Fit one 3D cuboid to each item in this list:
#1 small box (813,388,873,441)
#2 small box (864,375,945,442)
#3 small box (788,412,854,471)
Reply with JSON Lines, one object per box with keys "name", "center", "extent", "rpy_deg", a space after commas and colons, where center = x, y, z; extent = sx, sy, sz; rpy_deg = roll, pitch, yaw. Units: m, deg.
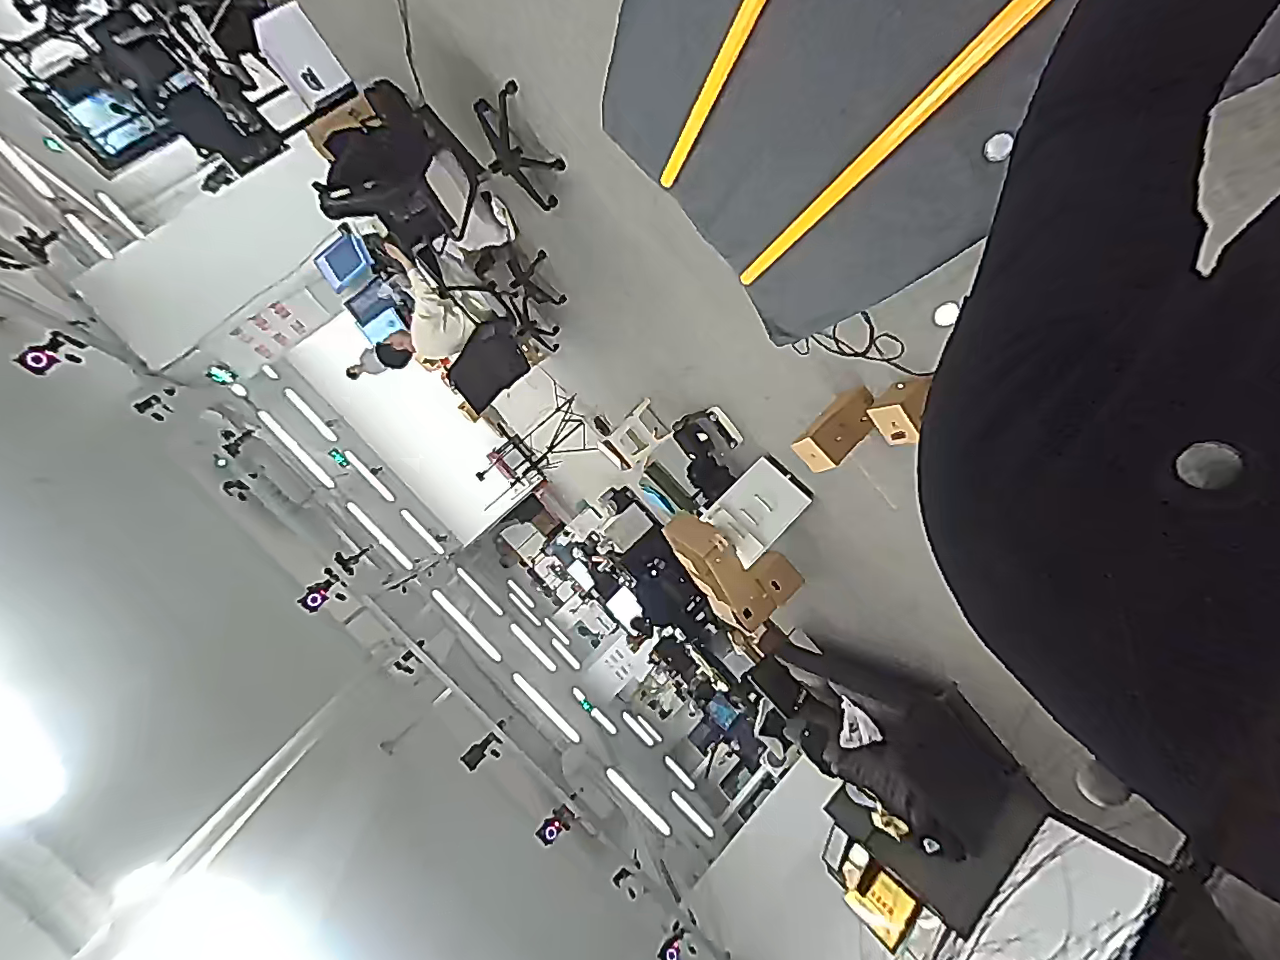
{"name": "small box", "center": [0.880, -0.269, 2.306], "extent": [0.168, 0.176, 0.179], "rpy_deg": [47, 167, -4]}
{"name": "small box", "center": [0.986, -0.262, 2.007], "extent": [0.179, 0.176, 0.168], "rpy_deg": [50, 166, -12]}
{"name": "small box", "center": [0.763, -0.163, 2.260], "extent": [0.168, 0.176, 0.179], "rpy_deg": [47, 167, -2]}
